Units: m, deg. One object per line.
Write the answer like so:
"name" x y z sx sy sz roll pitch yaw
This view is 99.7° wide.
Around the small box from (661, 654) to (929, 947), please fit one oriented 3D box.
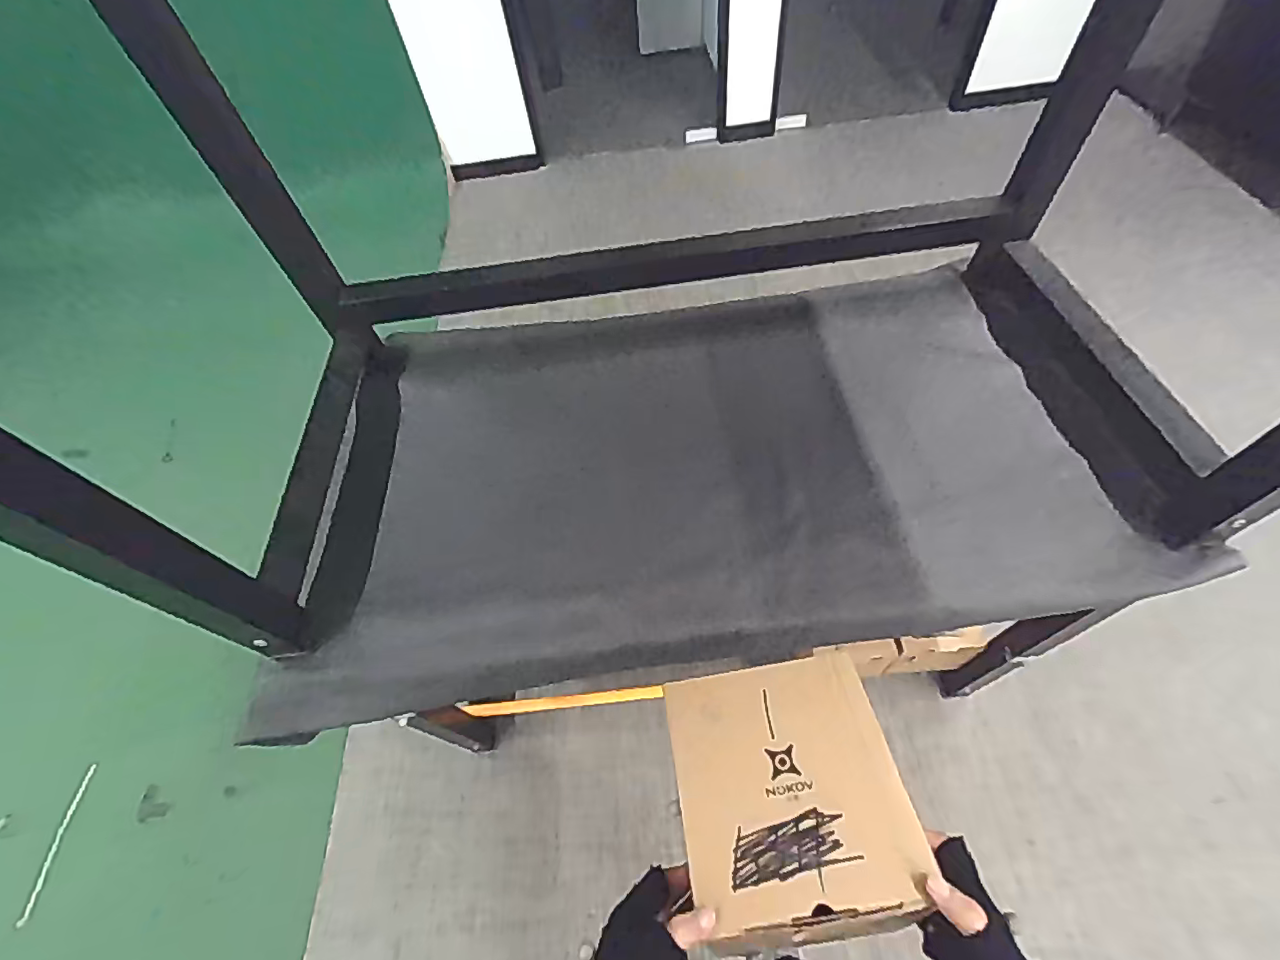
"small box" 0.118 0.282 0.472 0.168 0.176 0.179 -10 43 2
